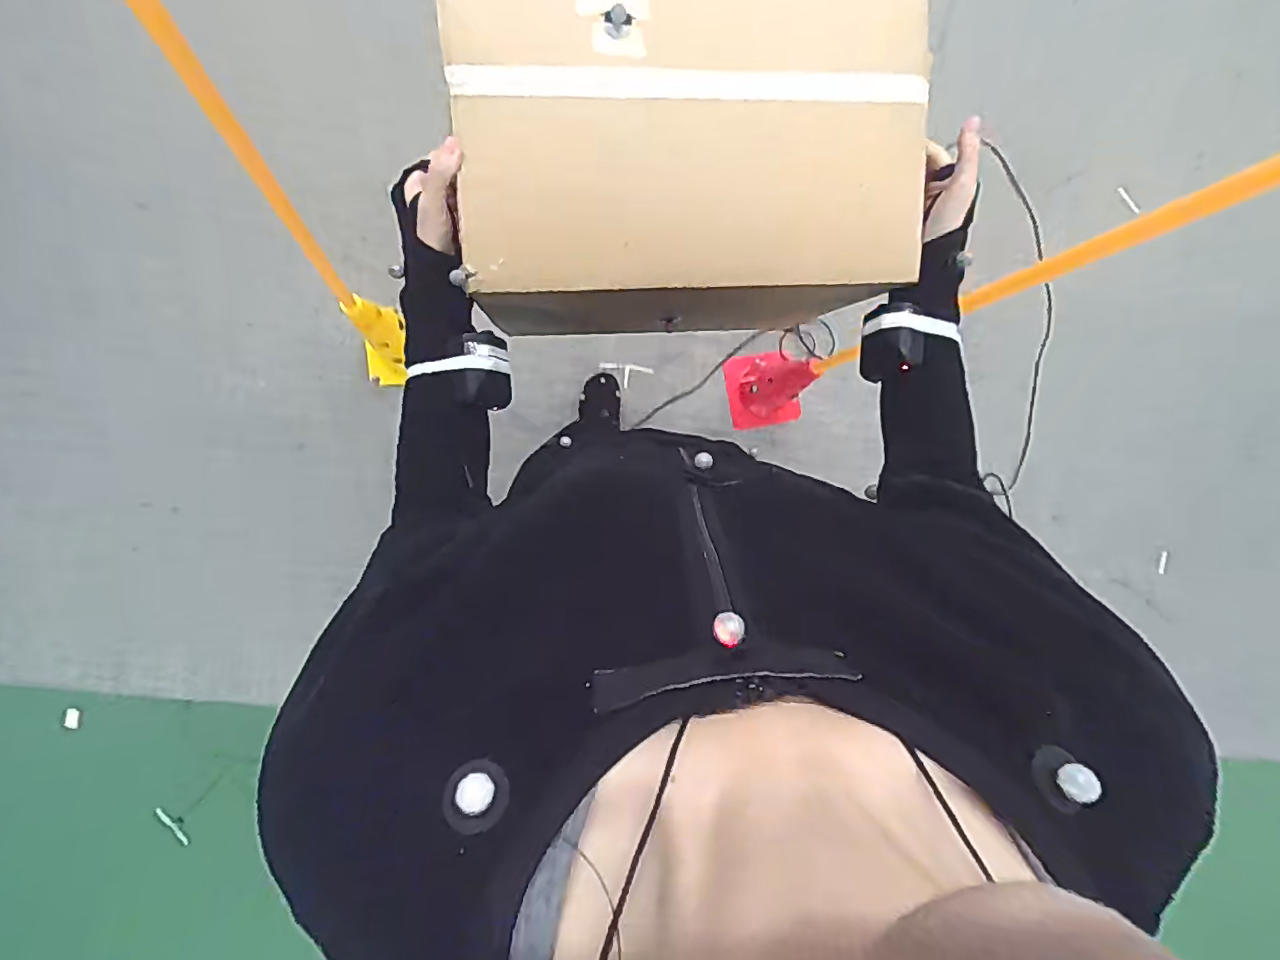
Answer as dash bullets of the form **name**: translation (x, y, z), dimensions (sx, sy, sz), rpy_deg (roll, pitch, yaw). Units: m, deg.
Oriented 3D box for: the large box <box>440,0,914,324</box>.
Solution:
- **large box**: translation (0.026, -0.354, 0.602), dimensions (0.408, 0.320, 0.320), rpy_deg (-4, 99, -6)
